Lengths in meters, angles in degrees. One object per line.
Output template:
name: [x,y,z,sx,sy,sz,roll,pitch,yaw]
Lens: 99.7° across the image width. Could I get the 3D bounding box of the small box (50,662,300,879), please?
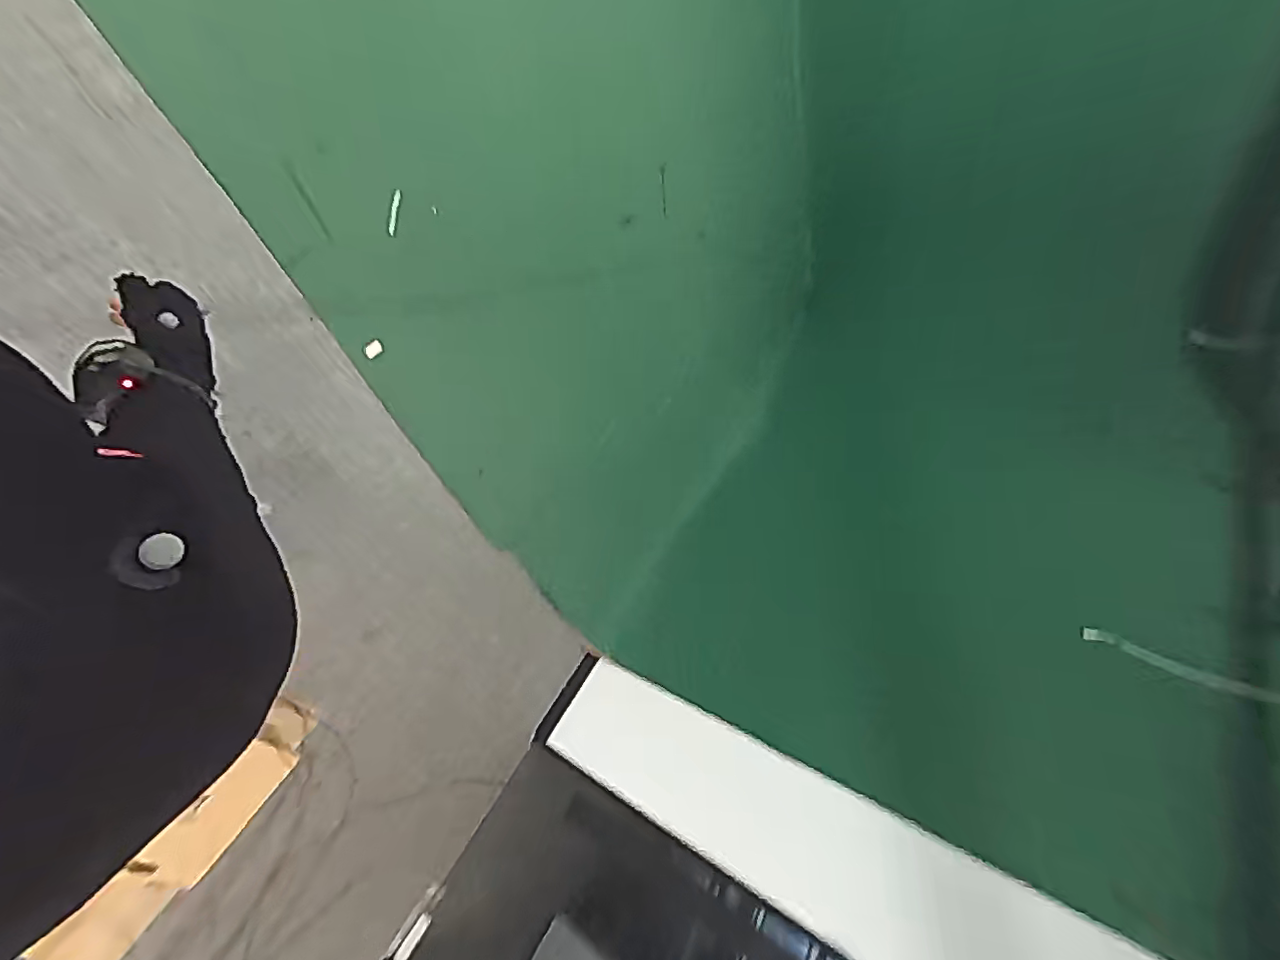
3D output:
small box: [-0.609,0.374,0.712,0.179,0.176,0.168,-57,140,-27]
